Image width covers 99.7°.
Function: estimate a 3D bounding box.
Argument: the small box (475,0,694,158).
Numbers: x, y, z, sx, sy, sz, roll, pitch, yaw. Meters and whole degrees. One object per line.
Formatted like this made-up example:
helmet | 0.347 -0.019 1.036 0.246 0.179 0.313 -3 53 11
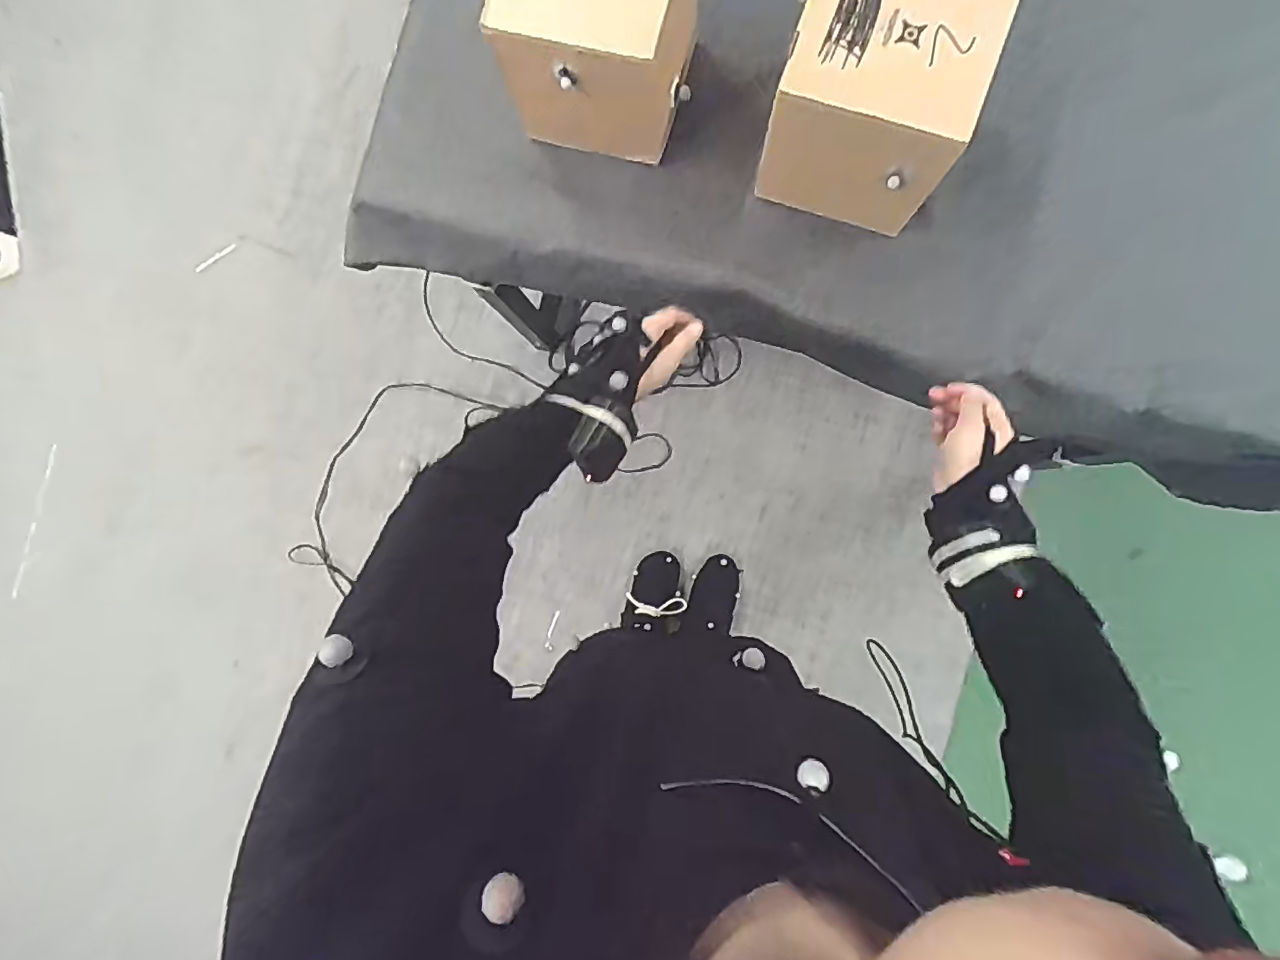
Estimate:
small box | -0.046 -0.487 0.584 0.179 0.176 0.168 16 90 5
